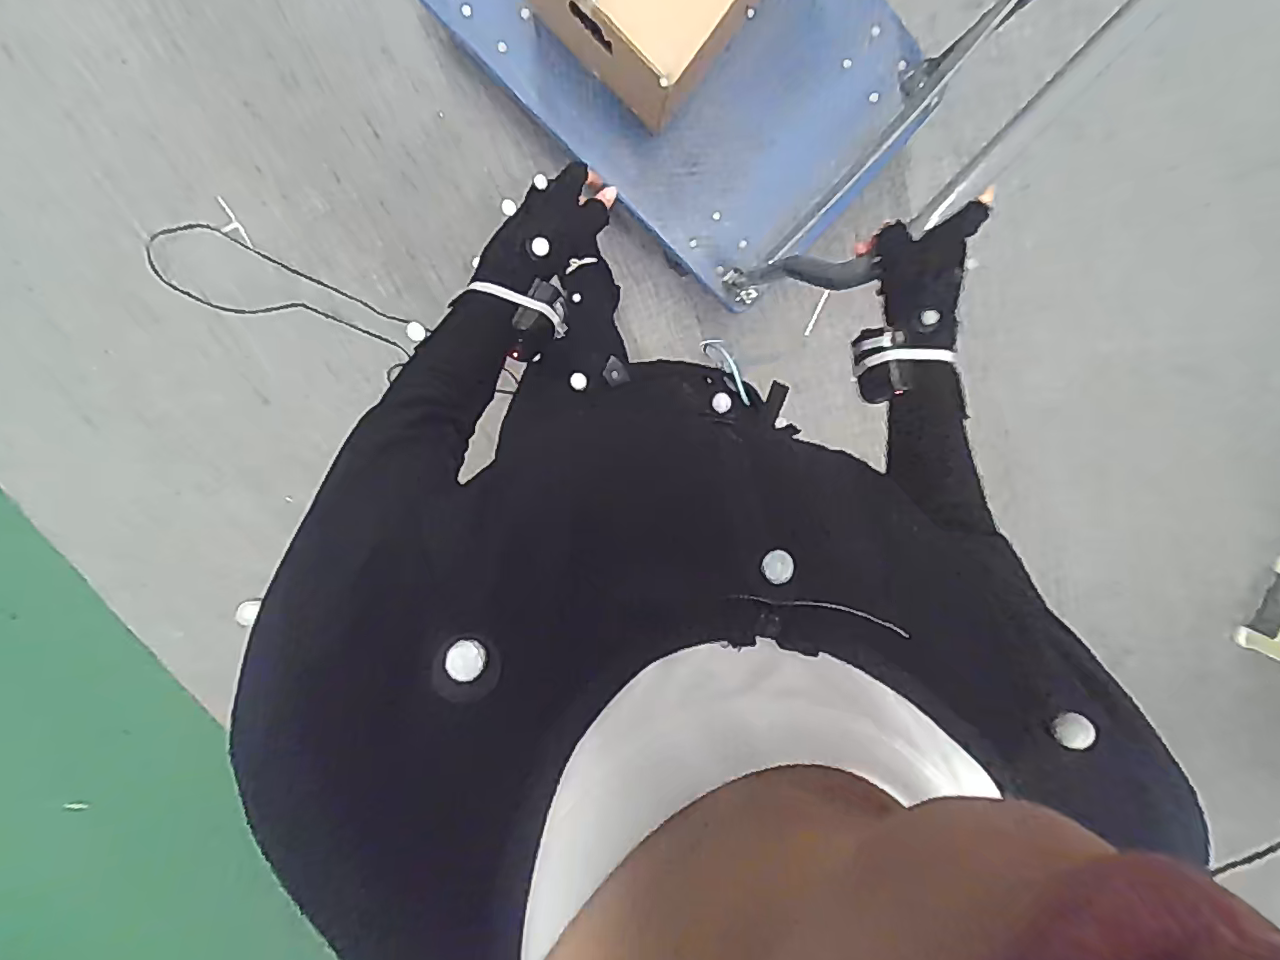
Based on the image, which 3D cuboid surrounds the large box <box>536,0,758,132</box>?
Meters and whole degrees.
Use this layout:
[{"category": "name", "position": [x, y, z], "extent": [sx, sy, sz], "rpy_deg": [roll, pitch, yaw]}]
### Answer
[{"category": "large box", "position": [0.059, -0.861, 0.843], "extent": [0.320, 0.320, 0.408], "rpy_deg": [37, 107, -13]}]
